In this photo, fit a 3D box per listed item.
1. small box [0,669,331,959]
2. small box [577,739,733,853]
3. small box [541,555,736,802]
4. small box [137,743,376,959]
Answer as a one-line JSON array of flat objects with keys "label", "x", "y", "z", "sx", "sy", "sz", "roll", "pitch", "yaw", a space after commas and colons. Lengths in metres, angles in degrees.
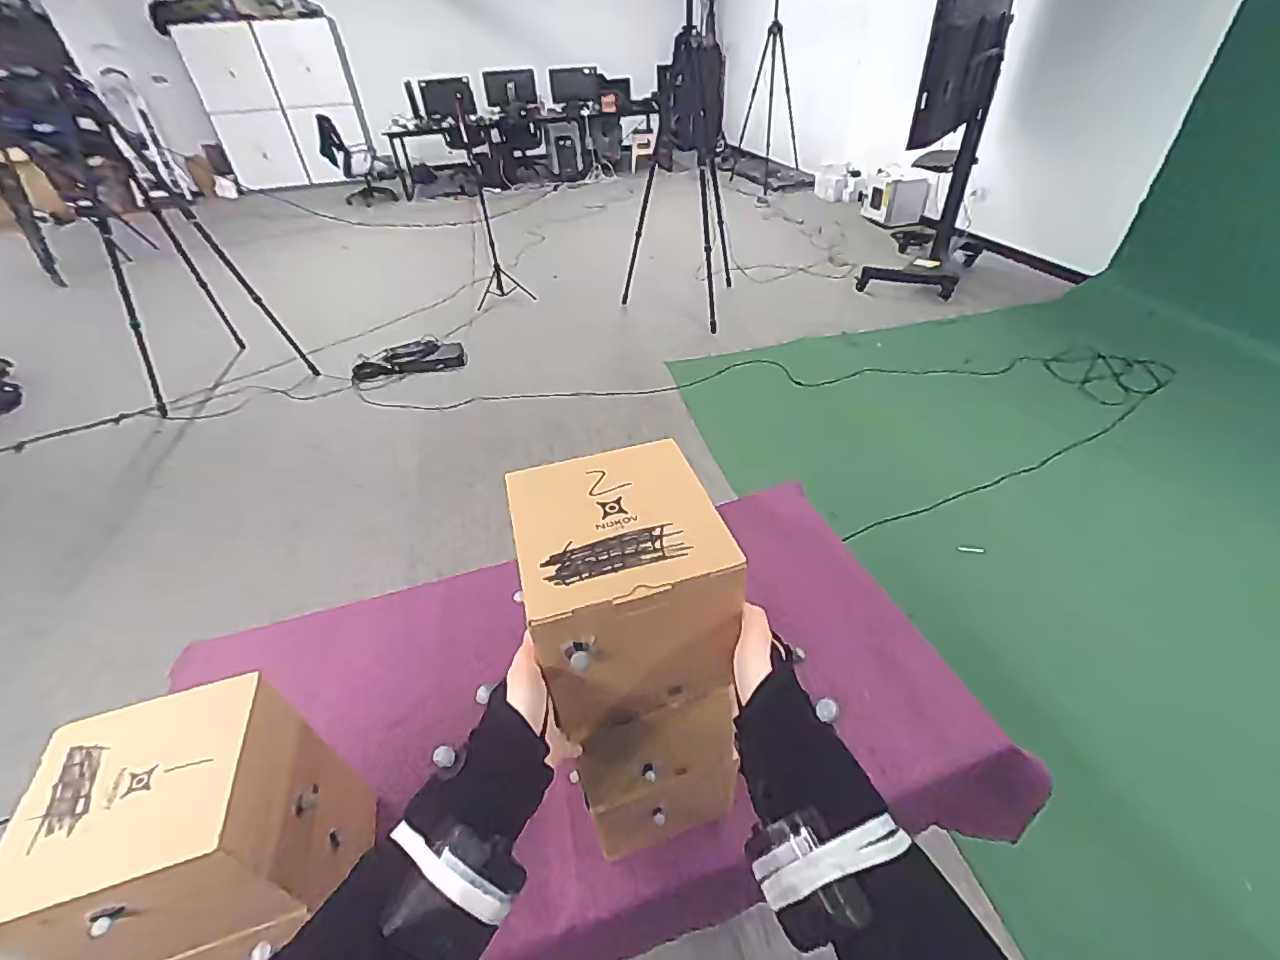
[{"label": "small box", "x": -0.430, "y": 0.319, "z": 0.517, "sx": 0.179, "sy": 0.176, "sz": 0.168, "roll": -13, "pitch": 41, "yaw": -12}, {"label": "small box", "x": 0.008, "y": 0.347, "z": 0.704, "sx": 0.179, "sy": 0.176, "sz": 0.168, "roll": -15, "pitch": 41, "yaw": -12}, {"label": "small box", "x": -0.007, "y": 0.218, "z": 0.604, "sx": 0.168, "sy": 0.176, "sz": 0.179, "roll": -13, "pitch": 41, "yaw": -11}, {"label": "small box", "x": -0.420, "y": 0.445, "z": 0.622, "sx": 0.168, "sy": 0.176, "sz": 0.179, "roll": -13, "pitch": 40, "yaw": -12}]
